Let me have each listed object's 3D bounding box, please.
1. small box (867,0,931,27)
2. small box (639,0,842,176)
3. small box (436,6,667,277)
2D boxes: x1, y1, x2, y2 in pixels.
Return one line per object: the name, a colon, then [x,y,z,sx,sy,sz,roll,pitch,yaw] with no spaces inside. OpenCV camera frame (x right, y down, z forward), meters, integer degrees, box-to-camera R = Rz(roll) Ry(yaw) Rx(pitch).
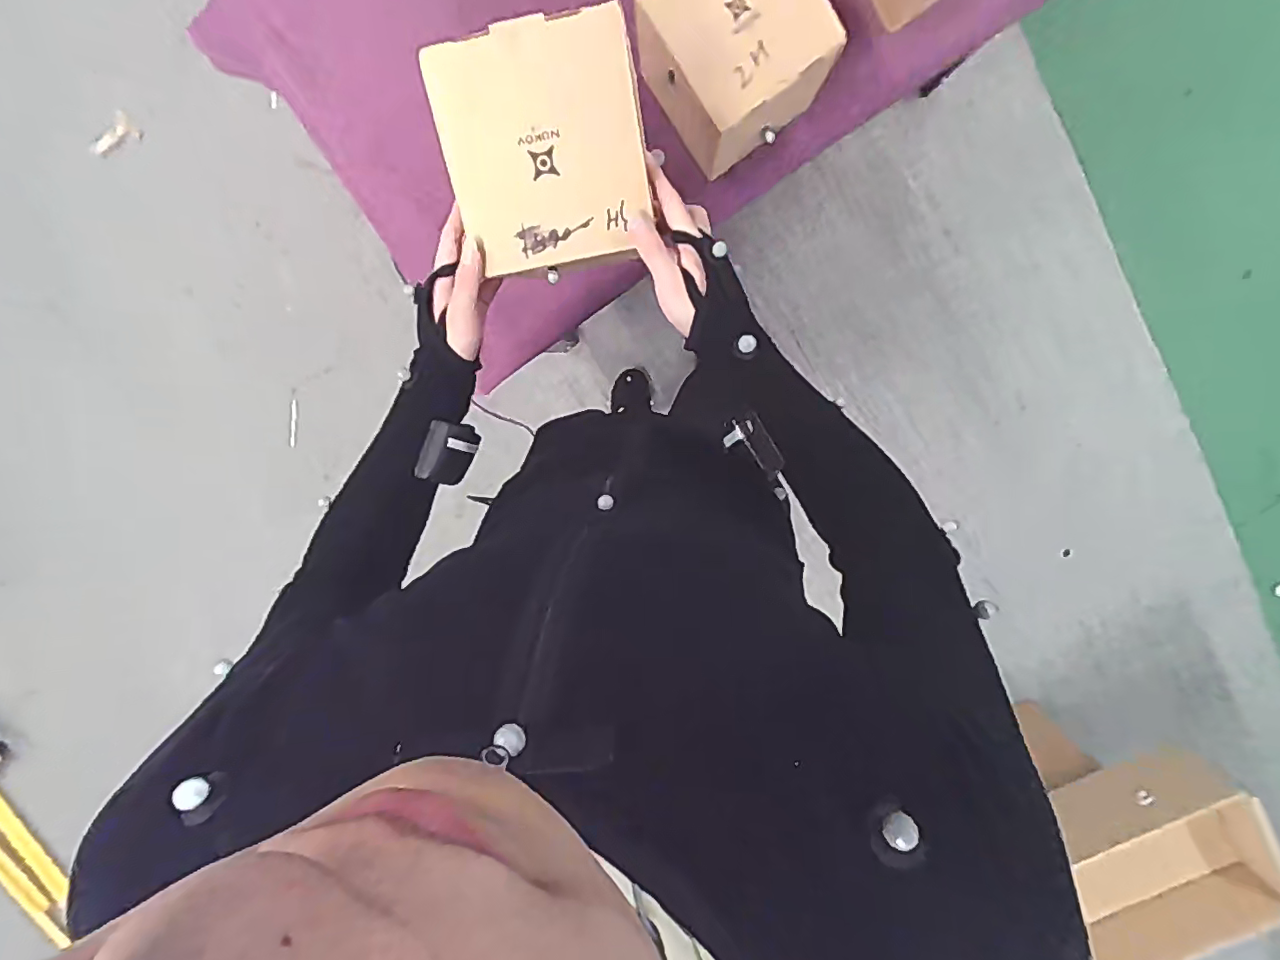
small box: [0.346,-0.699,0.627,0.168,0.176,0.179,-34,100,8]
small box: [0.111,-0.524,0.671,0.168,0.176,0.179,-34,99,9]
small box: [-0.067,-0.299,0.521,0.168,0.176,0.179,-7,110,6]
